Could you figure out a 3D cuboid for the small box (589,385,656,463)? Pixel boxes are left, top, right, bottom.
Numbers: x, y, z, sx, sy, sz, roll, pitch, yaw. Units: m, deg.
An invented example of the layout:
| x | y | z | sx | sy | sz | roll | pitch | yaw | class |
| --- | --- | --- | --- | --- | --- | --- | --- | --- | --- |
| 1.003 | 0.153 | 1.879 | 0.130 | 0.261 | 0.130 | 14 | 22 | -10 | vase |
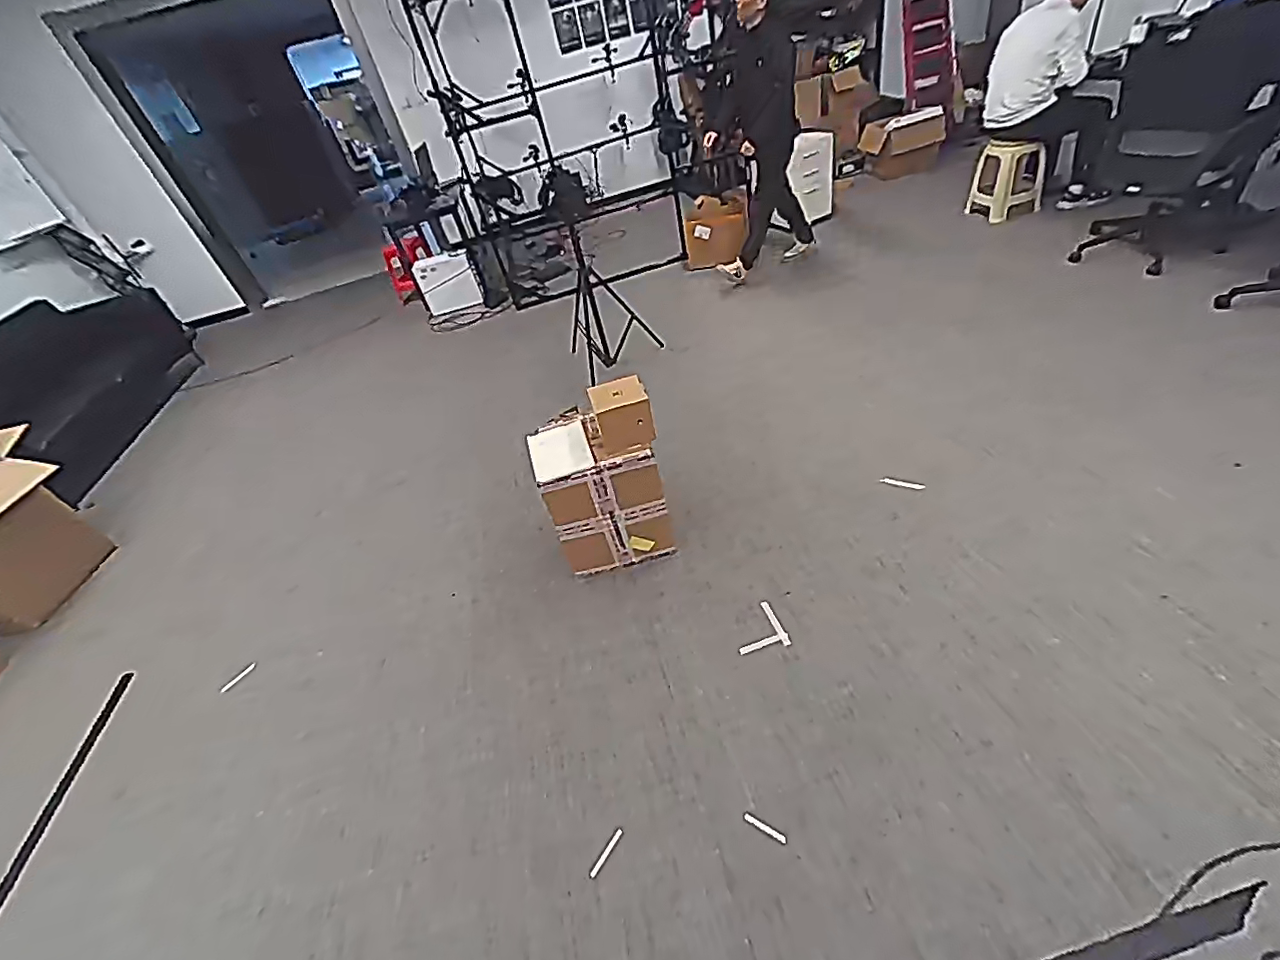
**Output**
| x | y | z | sx | sy | sz | roll | pitch | yaw | class |
| --- | --- | --- | --- | --- | --- | --- | --- | --- | --- |
| -0.054 | -0.184 | 1.784 | 0.179 | 0.176 | 0.168 | -18 | 40 | -5 | small box |
